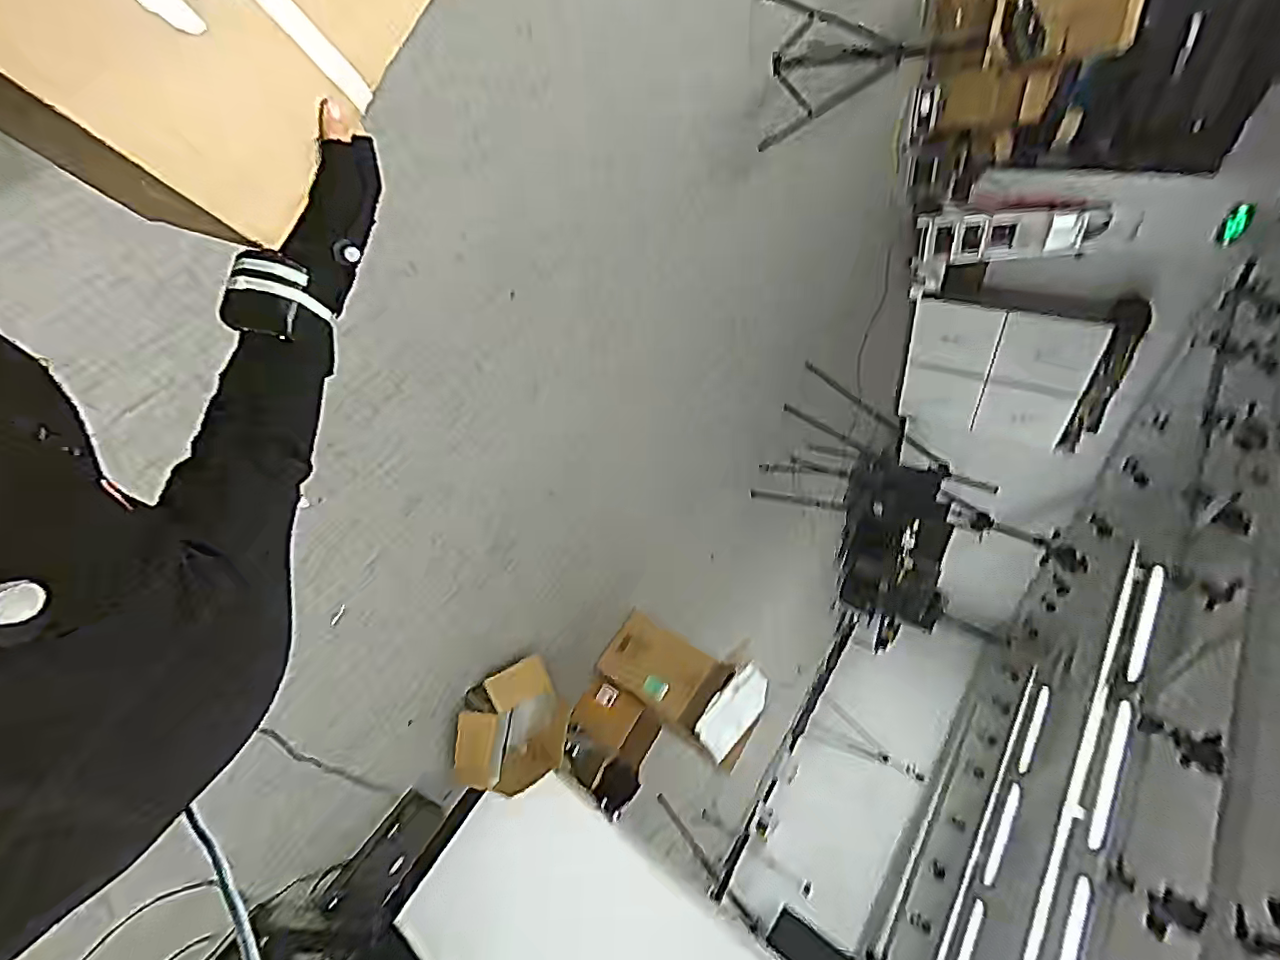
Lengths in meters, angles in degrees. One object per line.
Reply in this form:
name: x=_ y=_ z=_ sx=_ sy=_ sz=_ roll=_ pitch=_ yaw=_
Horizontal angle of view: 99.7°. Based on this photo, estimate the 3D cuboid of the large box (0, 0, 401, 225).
large box: x=-0.450 y=-0.451 z=0.370 sx=0.320 sy=0.320 sz=0.408 roll=-64 pitch=150 yaw=-5
